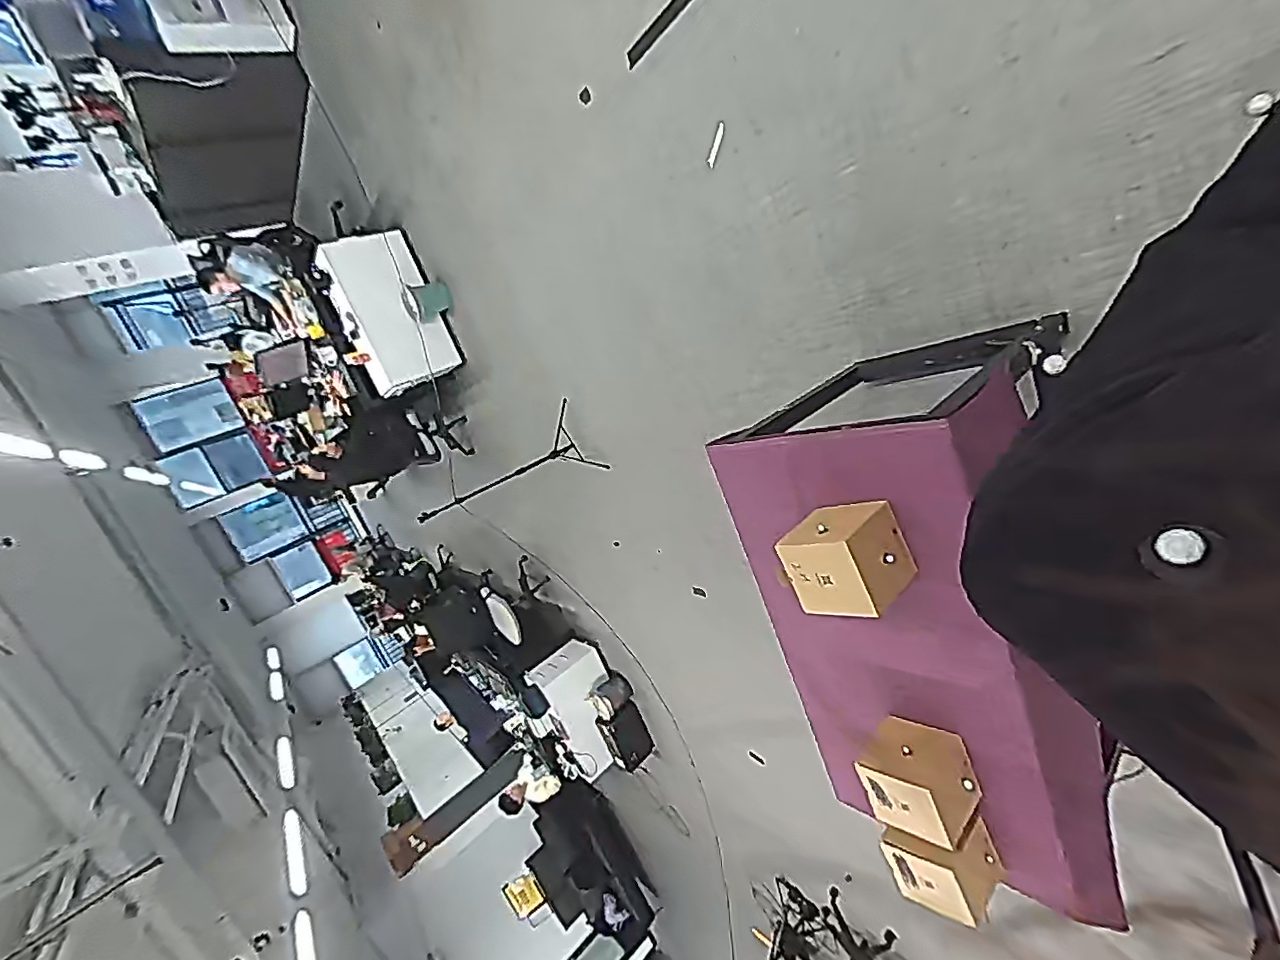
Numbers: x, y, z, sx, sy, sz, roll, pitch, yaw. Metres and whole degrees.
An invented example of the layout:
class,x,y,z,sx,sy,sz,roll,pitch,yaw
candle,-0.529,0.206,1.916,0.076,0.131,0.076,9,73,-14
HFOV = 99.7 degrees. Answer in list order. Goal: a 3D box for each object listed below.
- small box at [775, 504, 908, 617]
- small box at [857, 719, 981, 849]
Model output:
class,x,y,z,sx,sy,sz,roll,pitch,yaw
small box,0.419,0.159,1.107,0.179,0.176,0.168,-14,105,57
small box,0.639,0.681,1.240,0.179,0.176,0.168,-10,108,55
